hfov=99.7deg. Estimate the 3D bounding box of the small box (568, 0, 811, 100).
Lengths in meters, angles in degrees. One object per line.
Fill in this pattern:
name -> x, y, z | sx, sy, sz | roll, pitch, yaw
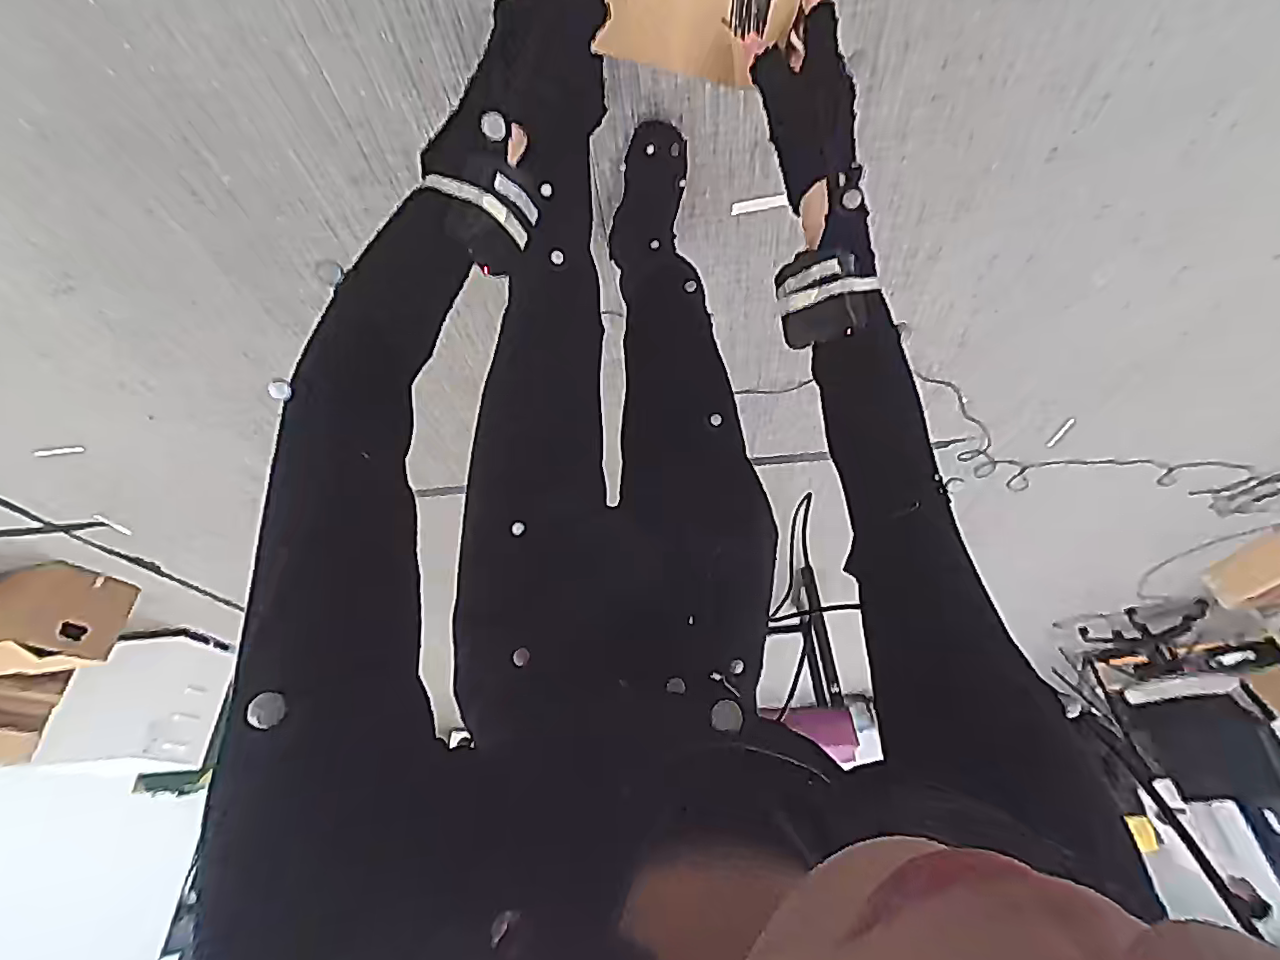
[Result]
small box -> 0.042, -0.435, 0.419 | 0.179, 0.176, 0.168 | 6, 141, -11
